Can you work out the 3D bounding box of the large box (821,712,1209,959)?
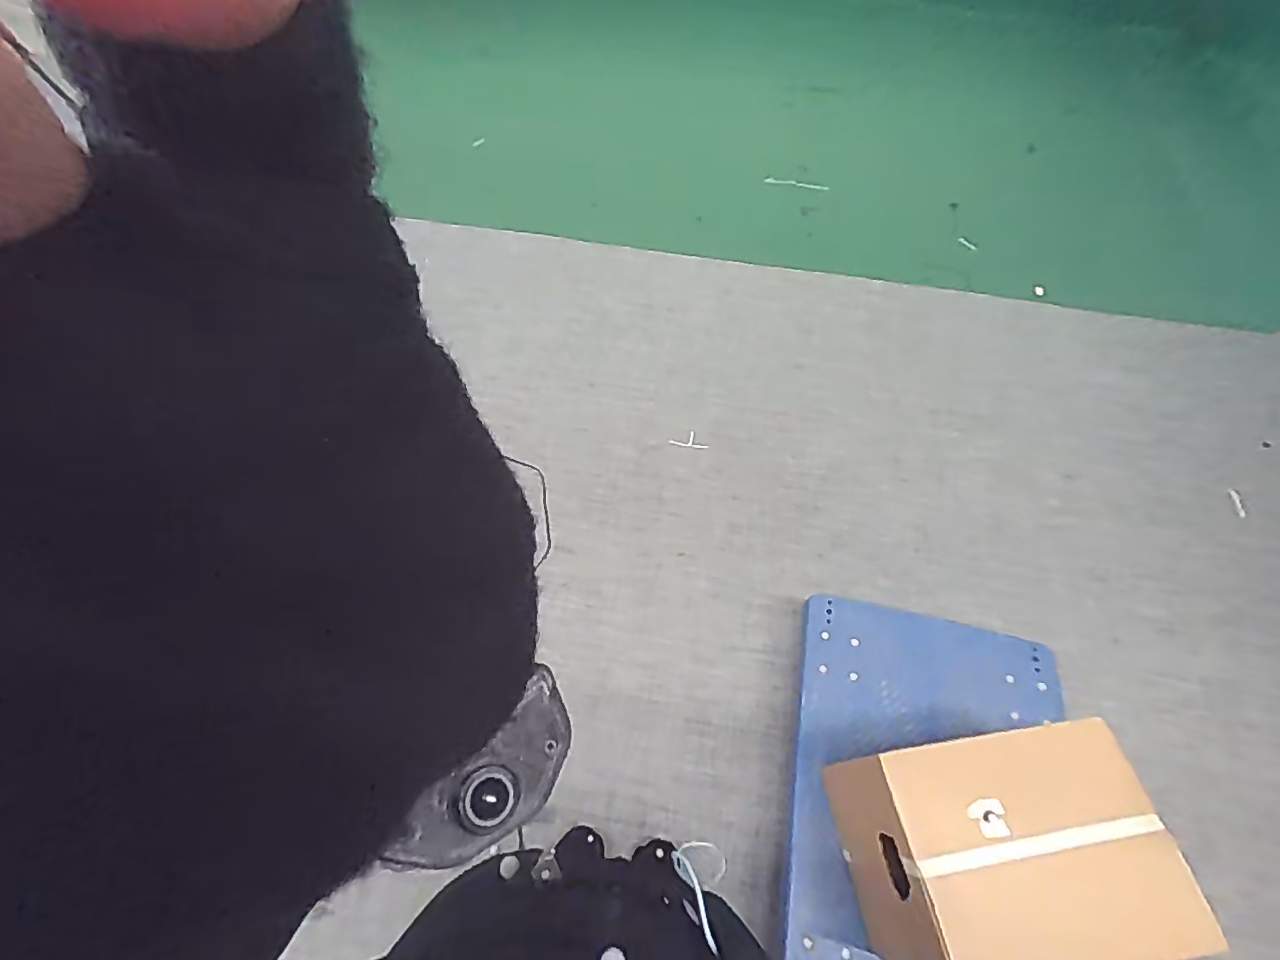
[{"bbox_3d":[0.597,0.628,0.955,0.408,0.320,0.320,-7,58,-5],"label":"large box"}]
